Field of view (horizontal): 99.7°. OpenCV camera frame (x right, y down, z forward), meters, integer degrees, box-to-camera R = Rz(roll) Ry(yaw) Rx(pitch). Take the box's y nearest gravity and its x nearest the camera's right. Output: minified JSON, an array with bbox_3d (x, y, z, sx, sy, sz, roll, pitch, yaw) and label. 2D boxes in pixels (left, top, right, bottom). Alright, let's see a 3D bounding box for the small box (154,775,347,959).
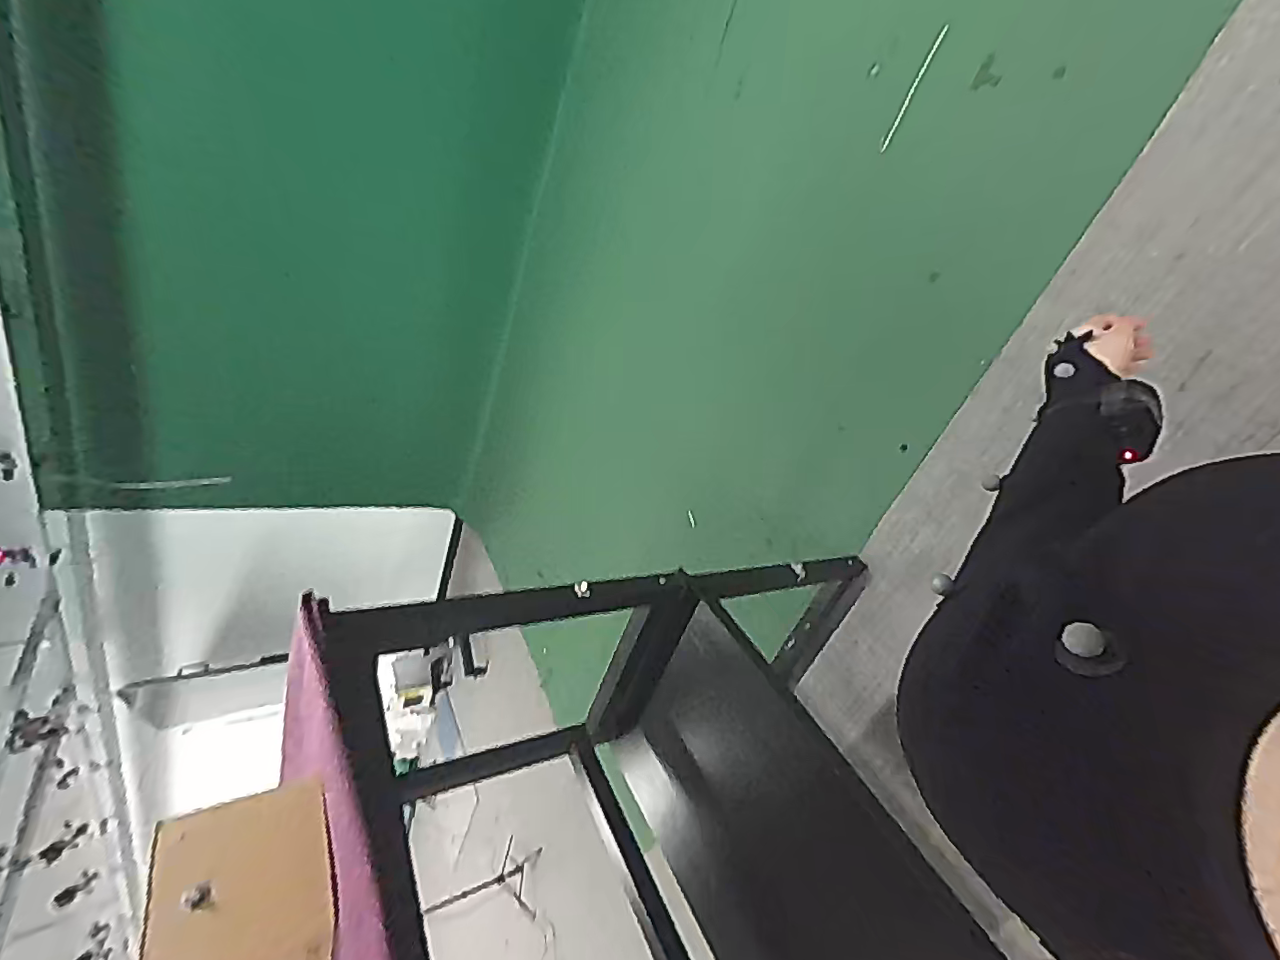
[{"bbox_3d":[-0.459,0.501,0.653,0.179,0.176,0.168,51,130,41],"label":"small box"}]
